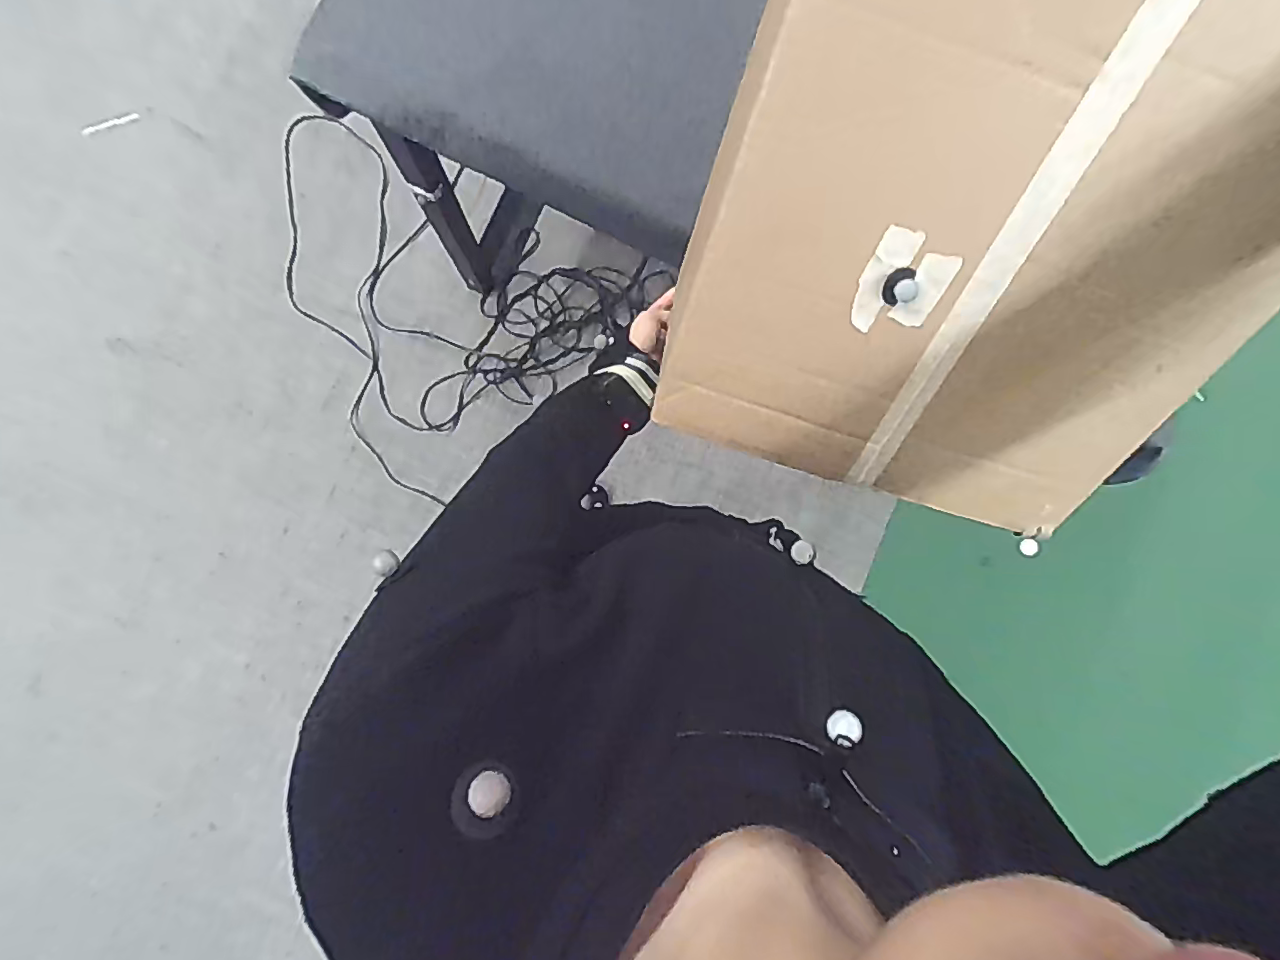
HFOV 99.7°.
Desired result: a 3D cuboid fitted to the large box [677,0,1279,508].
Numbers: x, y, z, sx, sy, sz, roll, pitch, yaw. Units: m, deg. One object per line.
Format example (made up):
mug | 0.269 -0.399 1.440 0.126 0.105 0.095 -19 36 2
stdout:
large box | 0.234 -0.255 0.410 0.320 0.320 0.408 16 127 -3
